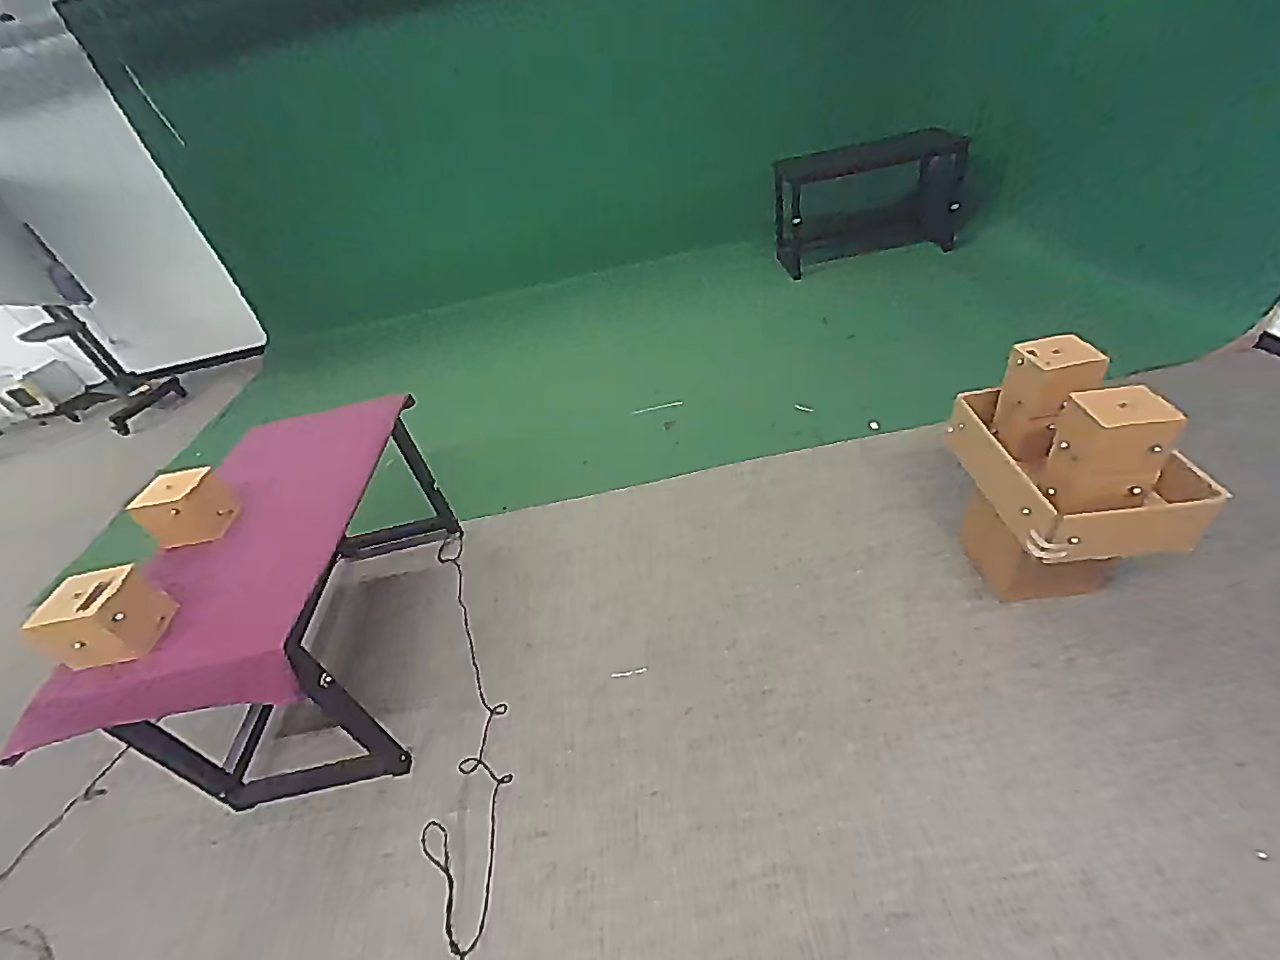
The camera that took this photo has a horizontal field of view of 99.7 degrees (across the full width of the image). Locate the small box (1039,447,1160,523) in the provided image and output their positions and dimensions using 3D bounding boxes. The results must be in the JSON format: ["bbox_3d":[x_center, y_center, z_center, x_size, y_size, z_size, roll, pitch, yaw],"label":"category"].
[{"bbox_3d":[1.254,0.004,1.492,0.179,0.176,0.168,-4,39,11],"label":"small box"}]

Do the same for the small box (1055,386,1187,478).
[{"bbox_3d":[1.225,-0.122,1.394,0.179,0.176,0.168,-5,39,10],"label":"small box"}]

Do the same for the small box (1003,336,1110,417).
[{"bbox_3d":[1.235,-0.309,1.618,0.179,0.176,0.168,-9,38,5],"label":"small box"}]

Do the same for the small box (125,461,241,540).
[{"bbox_3d":[-1.386,0.066,1.655,0.179,0.176,0.168,-9,38,1],"label":"small box"}]
